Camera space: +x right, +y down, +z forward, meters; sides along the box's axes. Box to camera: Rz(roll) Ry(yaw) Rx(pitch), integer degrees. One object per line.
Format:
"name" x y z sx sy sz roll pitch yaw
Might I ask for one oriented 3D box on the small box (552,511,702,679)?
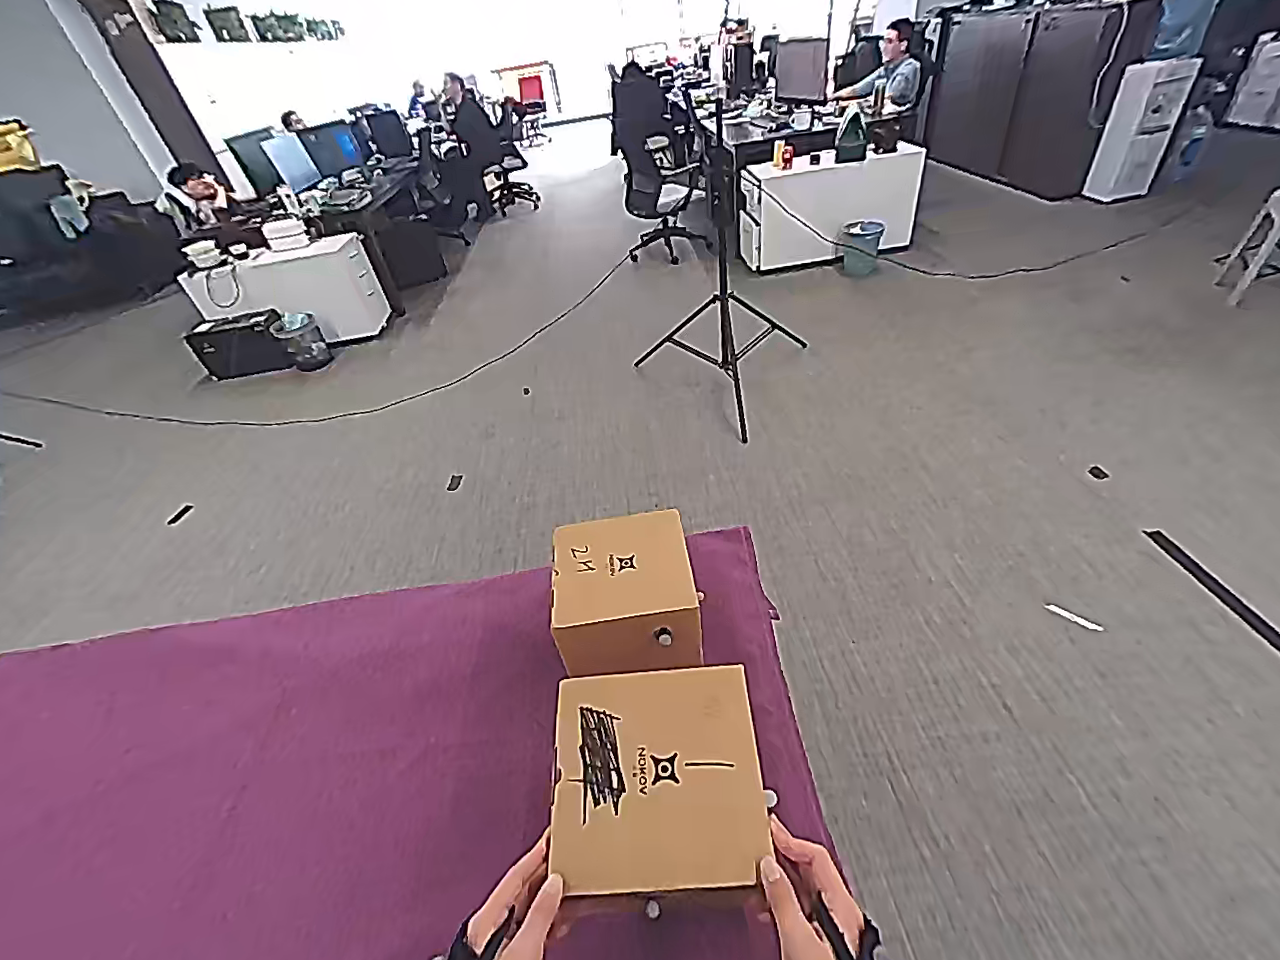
"small box" -0.014 0.167 0.731 0.179 0.176 0.168 -9 40 1

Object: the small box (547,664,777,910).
"small box" 0.025 0.293 0.509 0.179 0.176 0.168 -6 48 4
